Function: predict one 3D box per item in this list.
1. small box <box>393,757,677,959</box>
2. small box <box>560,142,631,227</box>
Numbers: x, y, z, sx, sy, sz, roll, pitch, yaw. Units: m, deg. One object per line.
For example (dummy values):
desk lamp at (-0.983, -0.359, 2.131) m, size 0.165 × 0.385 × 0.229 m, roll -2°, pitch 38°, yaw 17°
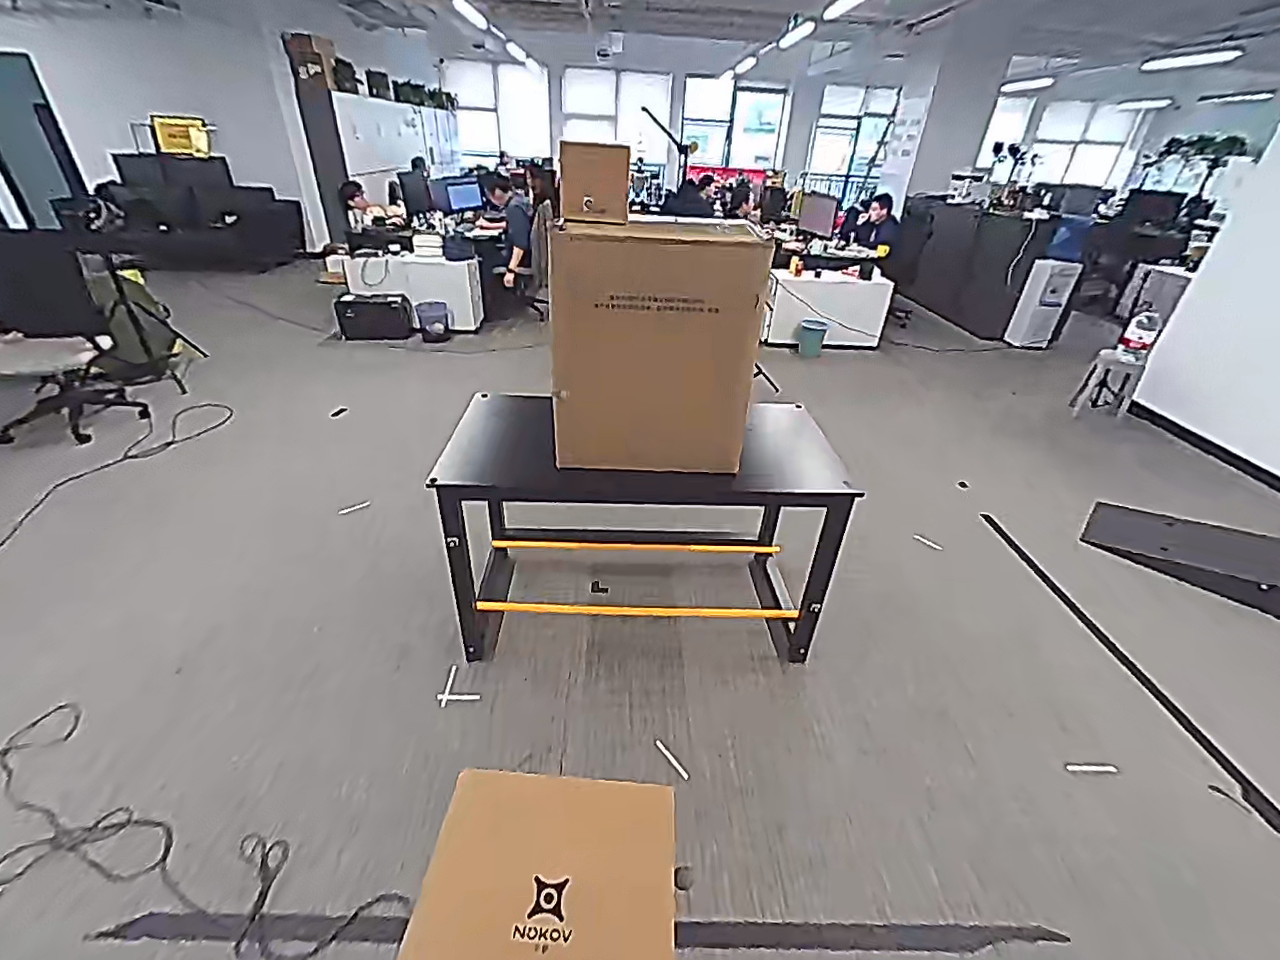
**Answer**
small box at (-0.064, 0.333, 0.385) m, size 0.168 × 0.176 × 0.179 m, roll 4°, pitch 33°, yaw 2°
small box at (-0.108, -0.734, 1.343) m, size 0.168 × 0.176 × 0.179 m, roll 1°, pitch 31°, yaw -2°
